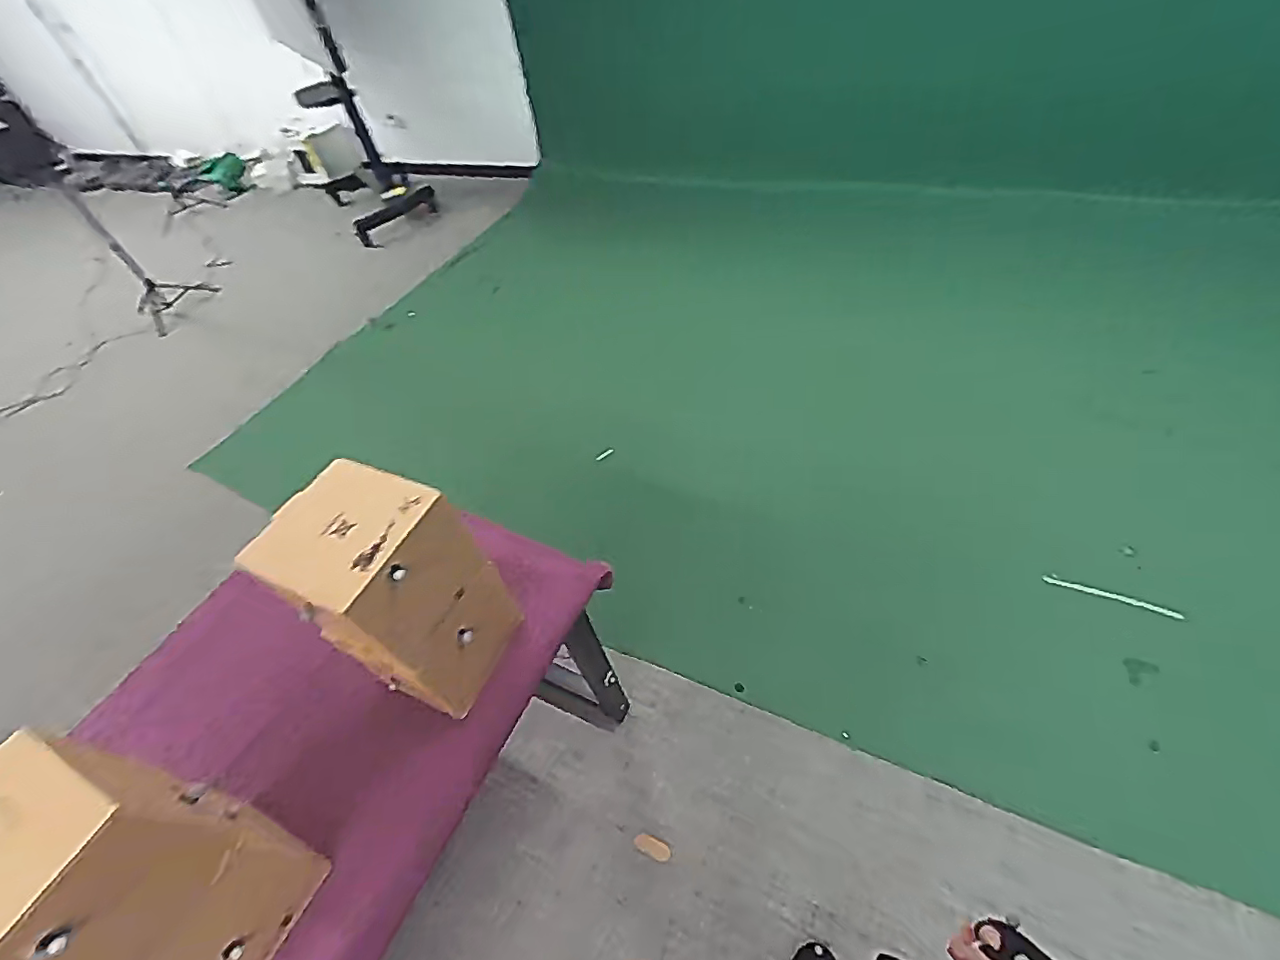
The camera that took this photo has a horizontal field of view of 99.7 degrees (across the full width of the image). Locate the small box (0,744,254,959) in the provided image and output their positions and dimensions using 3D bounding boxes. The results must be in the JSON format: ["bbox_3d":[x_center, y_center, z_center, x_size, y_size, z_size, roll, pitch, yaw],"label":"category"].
[{"bbox_3d":[-0.519,0.383,0.497,0.168,0.176,0.179,15,54,22],"label":"small box"}]

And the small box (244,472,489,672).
[{"bbox_3d":[-0.327,0.118,0.681,0.179,0.176,0.168,14,56,22],"label":"small box"}]

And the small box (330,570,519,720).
[{"bbox_3d":[-0.301,0.225,0.803,0.168,0.176,0.179,14,56,21],"label":"small box"}]

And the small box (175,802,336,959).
[{"bbox_3d":[-0.500,0.490,0.618,0.179,0.176,0.168,14,54,24],"label":"small box"}]
